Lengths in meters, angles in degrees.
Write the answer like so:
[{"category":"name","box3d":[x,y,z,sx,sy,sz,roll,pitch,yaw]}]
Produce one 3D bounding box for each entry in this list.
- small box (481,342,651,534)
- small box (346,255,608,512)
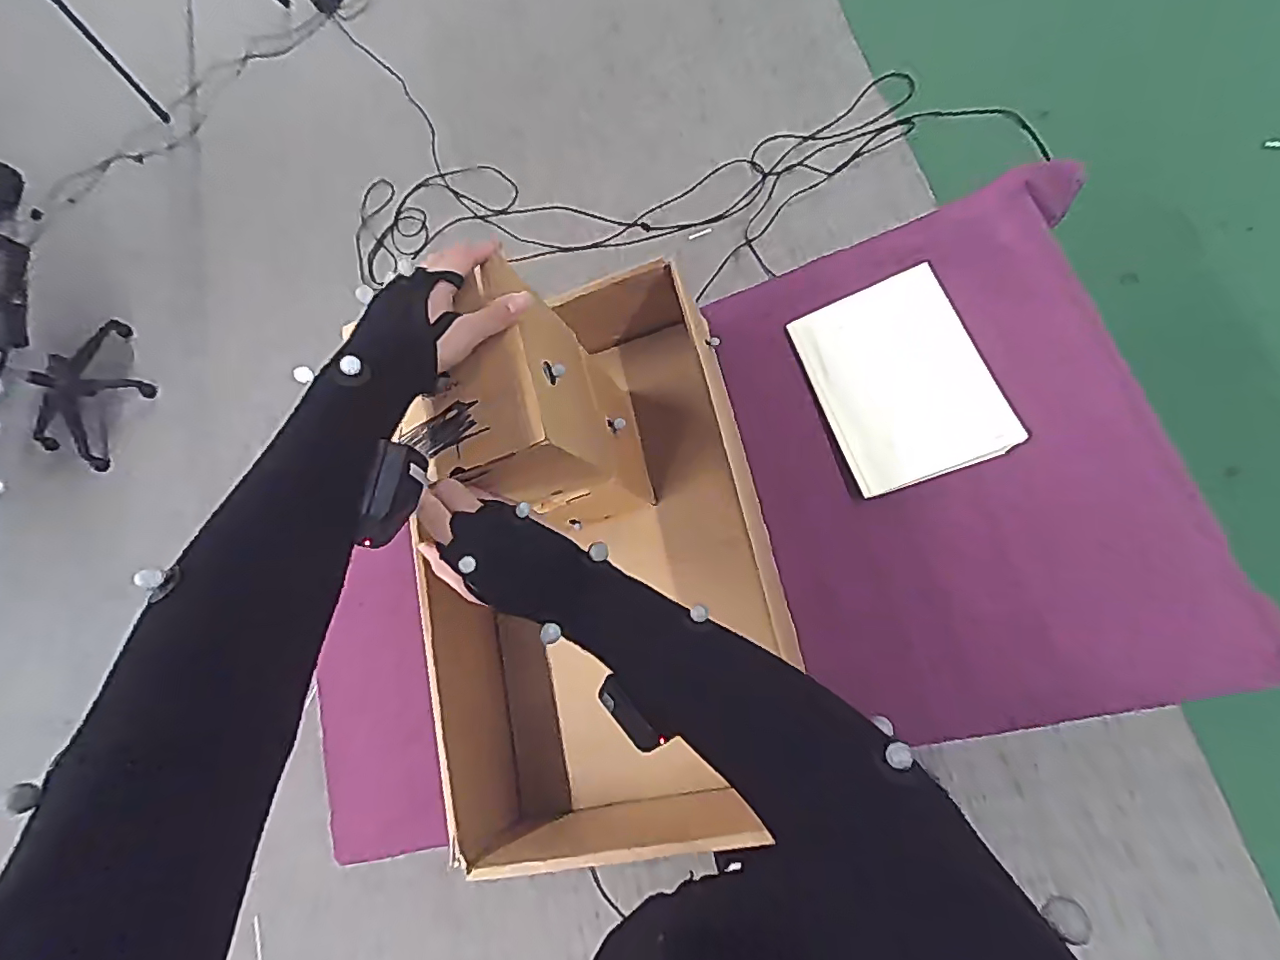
[{"category":"small box","box3d":[-0.100,-0.039,0.683,0.168,0.176,0.179,-19,77,12]},{"category":"small box","box3d":[-0.146,-0.073,0.529,0.168,0.176,0.179,-20,75,12]}]
